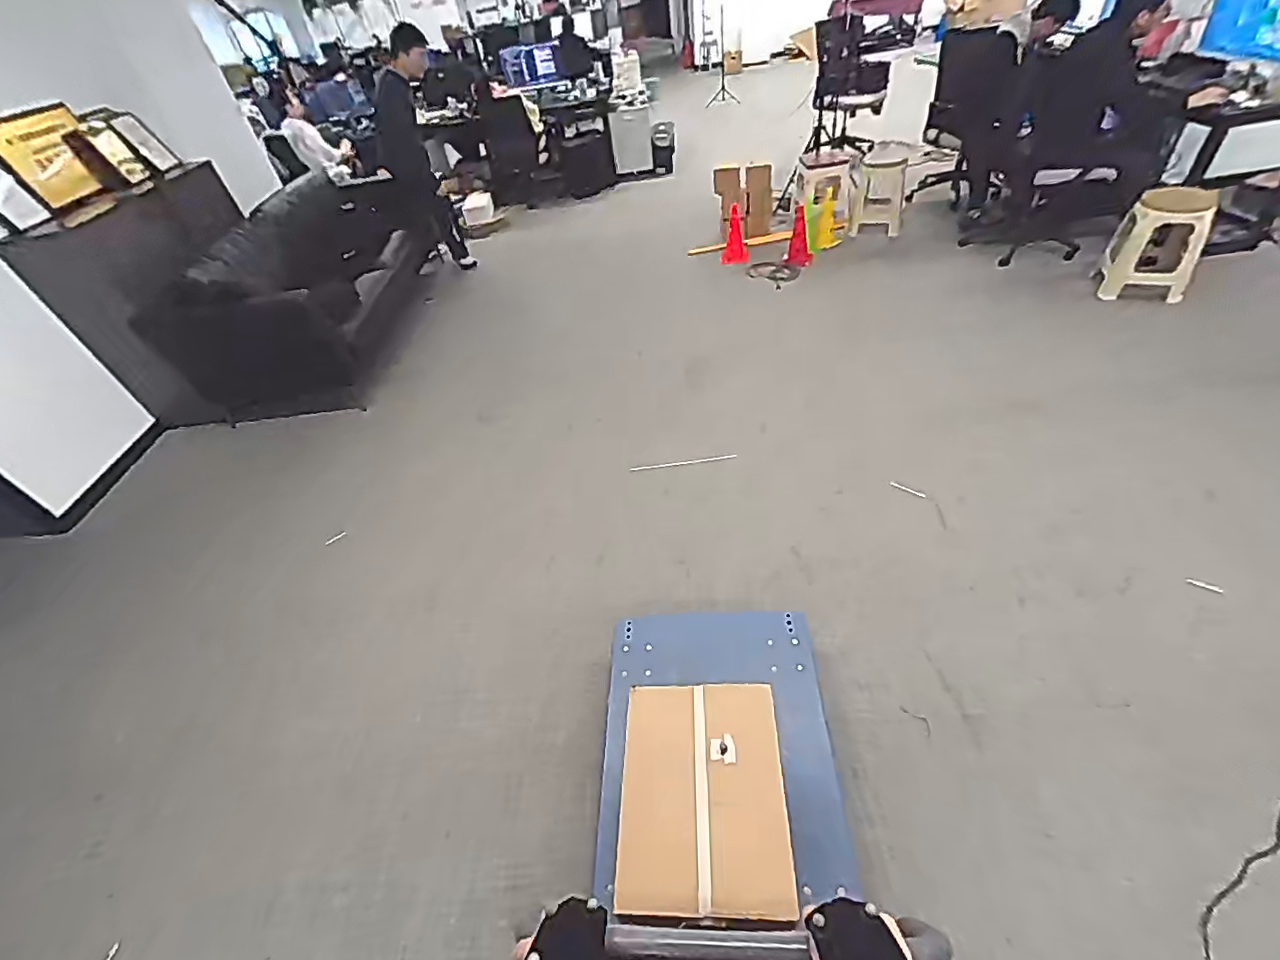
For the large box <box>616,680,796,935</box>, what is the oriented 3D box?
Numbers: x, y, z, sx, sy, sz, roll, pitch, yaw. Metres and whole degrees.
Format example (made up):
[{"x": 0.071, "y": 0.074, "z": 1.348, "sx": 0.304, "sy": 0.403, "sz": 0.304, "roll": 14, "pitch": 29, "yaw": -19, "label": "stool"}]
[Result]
[{"x": 0.139, "y": 0.696, "z": 1.161, "sx": 0.320, "sy": 0.320, "sz": 0.408, "roll": -4, "pitch": 42, "yaw": 7, "label": "large box"}]
